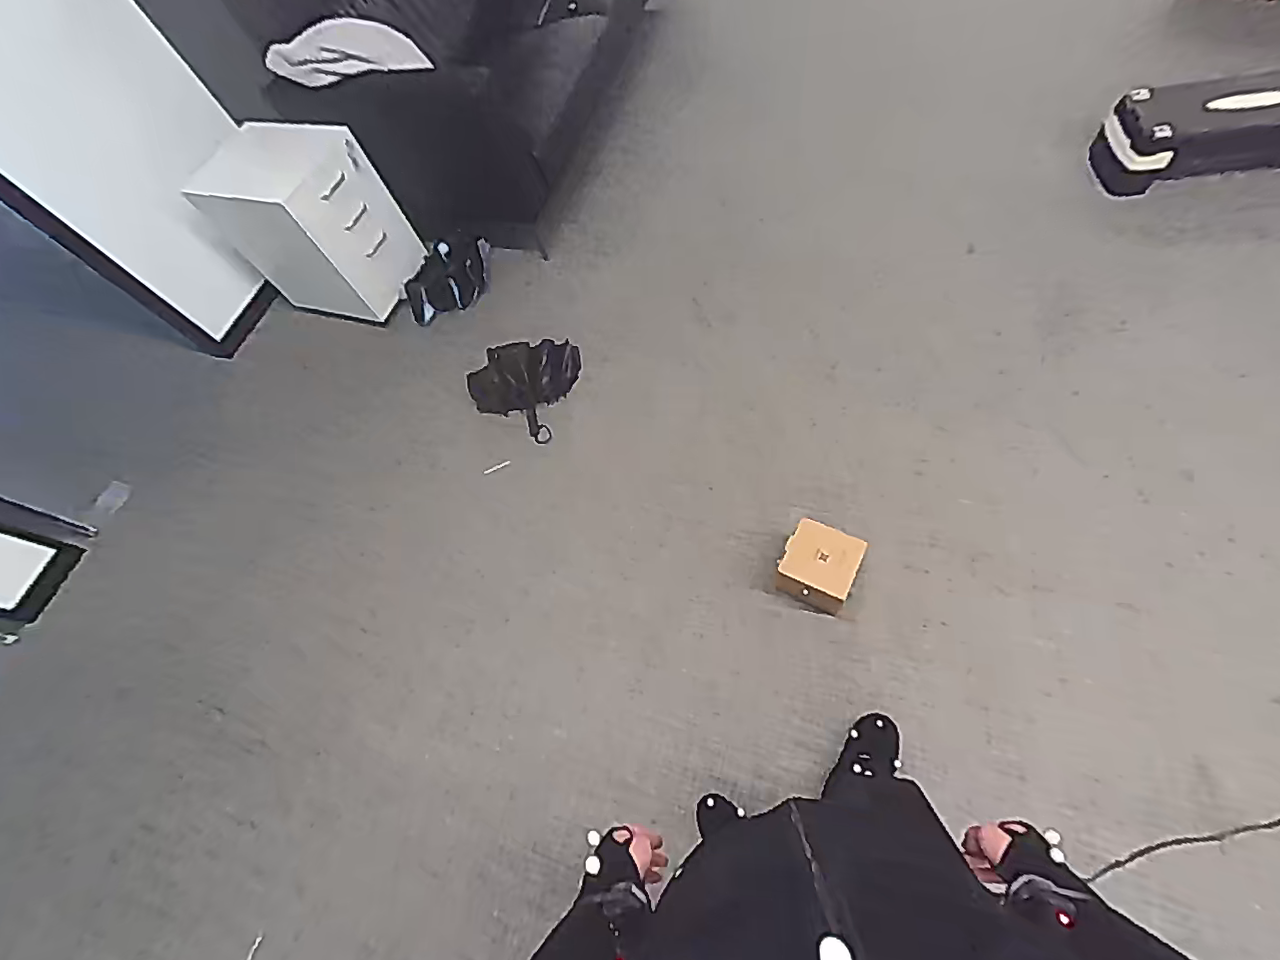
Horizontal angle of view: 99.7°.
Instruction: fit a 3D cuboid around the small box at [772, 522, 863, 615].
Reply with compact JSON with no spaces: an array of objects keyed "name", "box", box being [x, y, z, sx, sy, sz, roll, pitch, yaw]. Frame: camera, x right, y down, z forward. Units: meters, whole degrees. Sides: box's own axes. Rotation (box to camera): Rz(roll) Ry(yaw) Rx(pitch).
[{"name":"small box","box":[0.463,0.241,1.438,0.179,0.176,0.168,23,71,20]}]
